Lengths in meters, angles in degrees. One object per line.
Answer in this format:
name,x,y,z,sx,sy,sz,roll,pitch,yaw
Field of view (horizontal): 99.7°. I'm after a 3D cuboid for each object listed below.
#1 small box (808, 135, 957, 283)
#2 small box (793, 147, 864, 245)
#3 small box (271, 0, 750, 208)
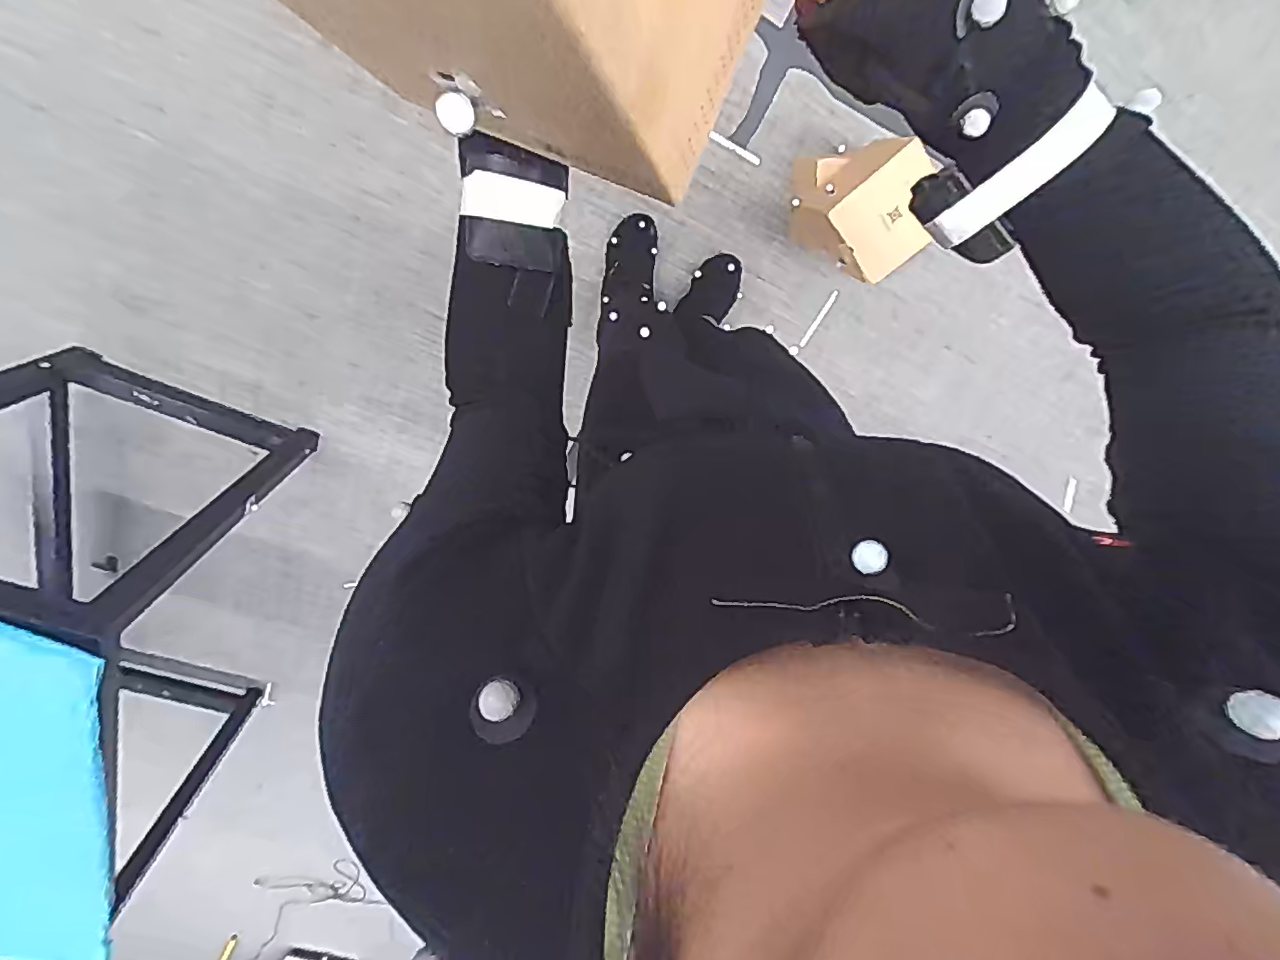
small box,0.434,-0.502,1.003,0.179,0.176,0.168,-37,117,18
small box,0.430,-0.600,1.137,0.179,0.176,0.168,-7,121,1
small box,-0.049,-0.222,0.169,0.168,0.176,0.179,31,108,10
